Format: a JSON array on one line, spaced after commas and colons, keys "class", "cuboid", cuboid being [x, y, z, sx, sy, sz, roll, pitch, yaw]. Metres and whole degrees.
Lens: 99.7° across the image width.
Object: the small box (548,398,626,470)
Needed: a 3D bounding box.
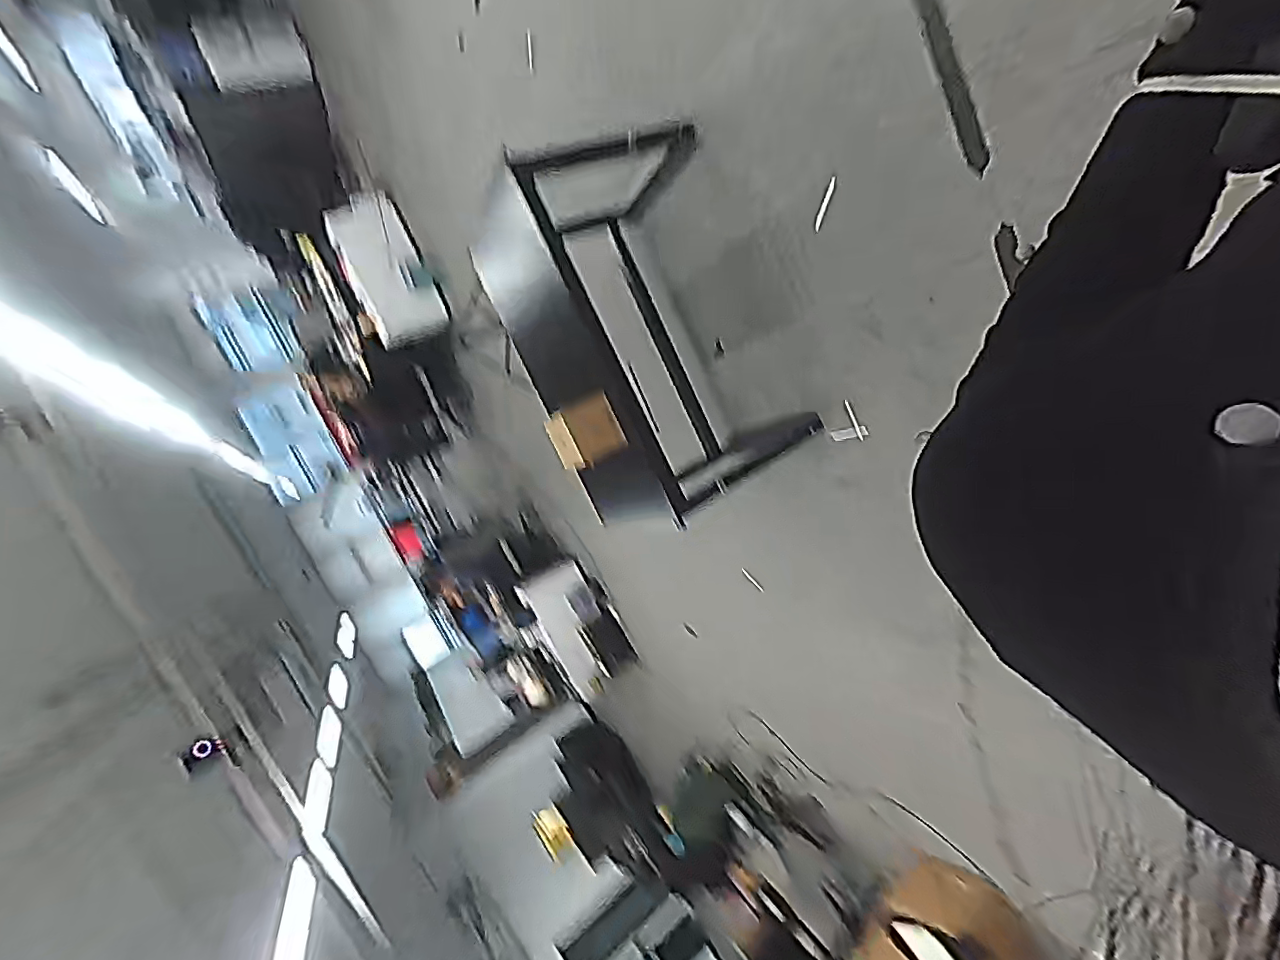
[{"class": "small box", "cuboid": [-0.165, -0.147, 1.738, 0.179, 0.176, 0.168, -12, 105, 63]}]
